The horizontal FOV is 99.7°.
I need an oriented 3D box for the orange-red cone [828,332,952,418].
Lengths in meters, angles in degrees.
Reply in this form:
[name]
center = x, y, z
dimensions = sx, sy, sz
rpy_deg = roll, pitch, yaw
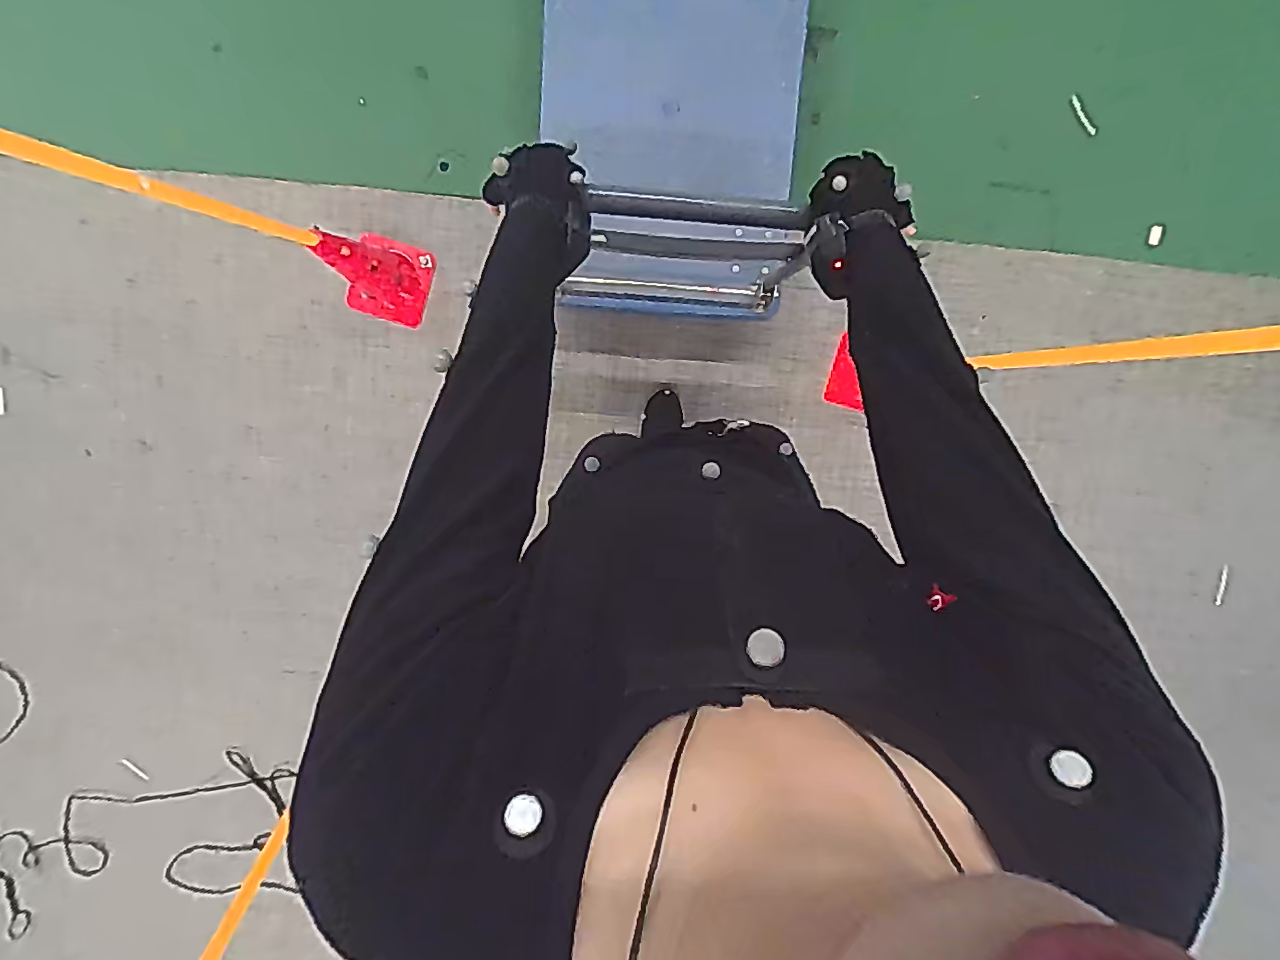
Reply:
[orange-red cone]
center = 0.627, -0.259, 1.291
dimensions = 0.198, 0.360, 0.199
rpy_deg = 15, 98, -3
